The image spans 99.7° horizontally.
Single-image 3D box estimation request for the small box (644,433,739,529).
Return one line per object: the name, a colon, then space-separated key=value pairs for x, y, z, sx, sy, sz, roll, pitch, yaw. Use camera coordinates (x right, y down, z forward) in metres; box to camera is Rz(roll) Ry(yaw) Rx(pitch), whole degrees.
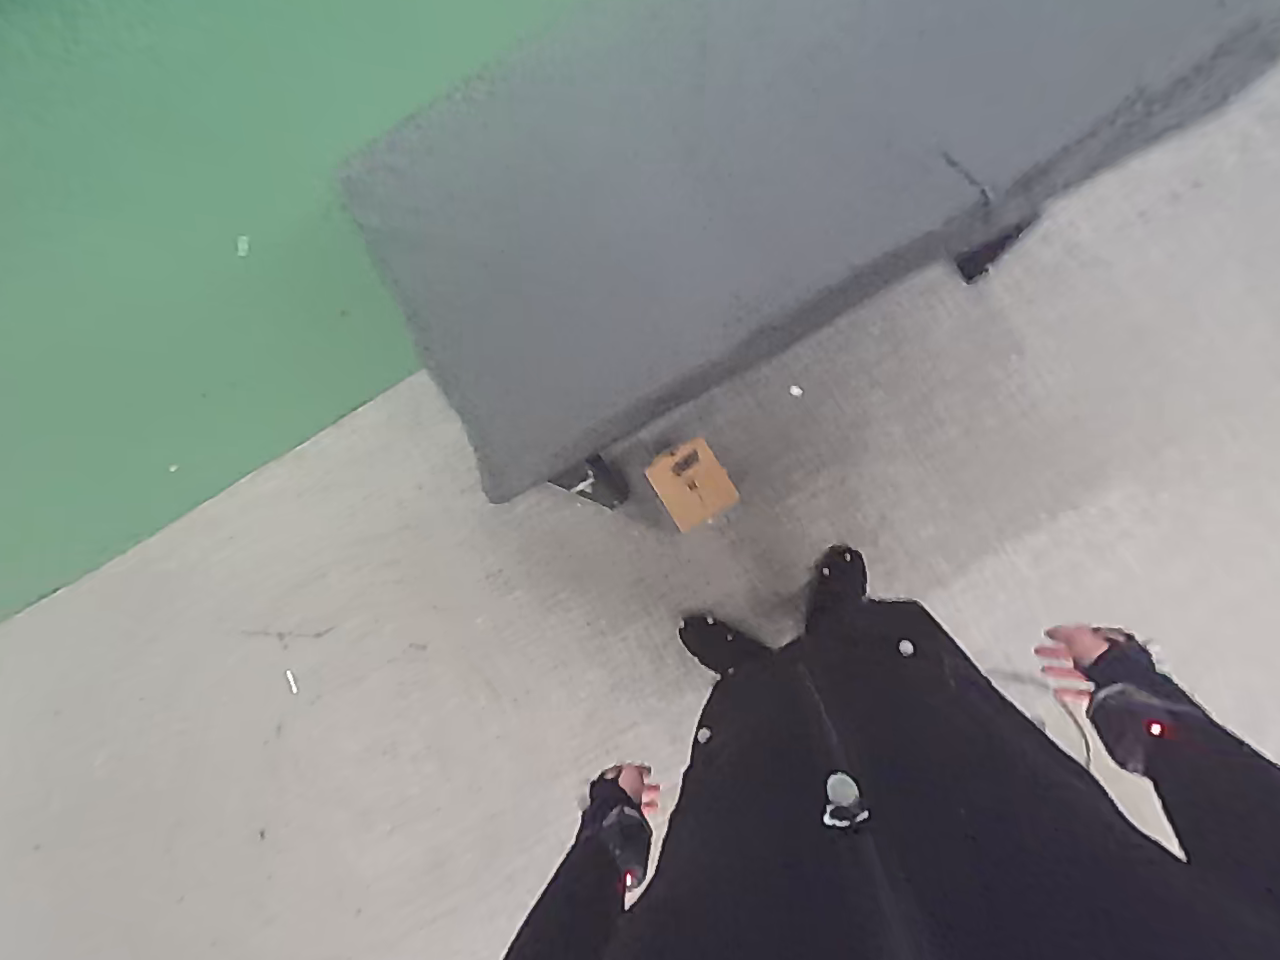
small box: x=0.127 y=0.011 z=1.355 sx=0.168 sy=0.176 sz=0.179 roll=-33 pitch=81 yaw=2
